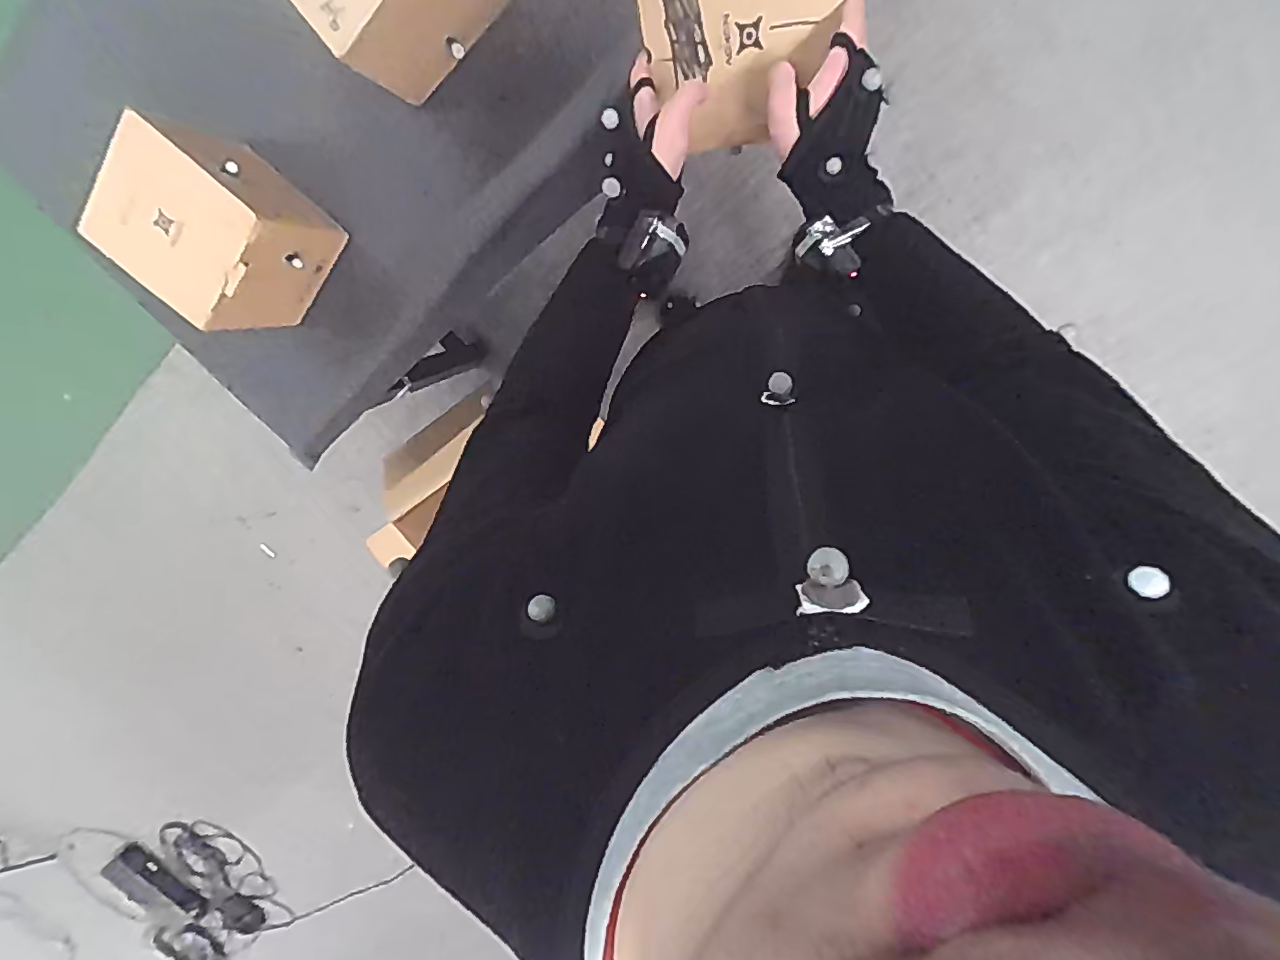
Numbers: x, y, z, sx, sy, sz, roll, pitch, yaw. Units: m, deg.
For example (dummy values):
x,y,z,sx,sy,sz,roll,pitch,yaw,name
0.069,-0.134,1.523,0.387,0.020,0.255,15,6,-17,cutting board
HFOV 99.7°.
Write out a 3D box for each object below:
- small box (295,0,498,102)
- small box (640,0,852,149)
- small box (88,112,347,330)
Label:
x,y,z,sx,sy,sz,roll,pitch,yaw,name
-0.276,-0.561,0.579,0.179,0.176,0.168,-36,102,17,small box
0.107,-0.437,0.523,0.179,0.176,0.168,0,129,15,small box
-0.528,-0.319,0.700,0.179,0.176,0.168,41,108,-6,small box
